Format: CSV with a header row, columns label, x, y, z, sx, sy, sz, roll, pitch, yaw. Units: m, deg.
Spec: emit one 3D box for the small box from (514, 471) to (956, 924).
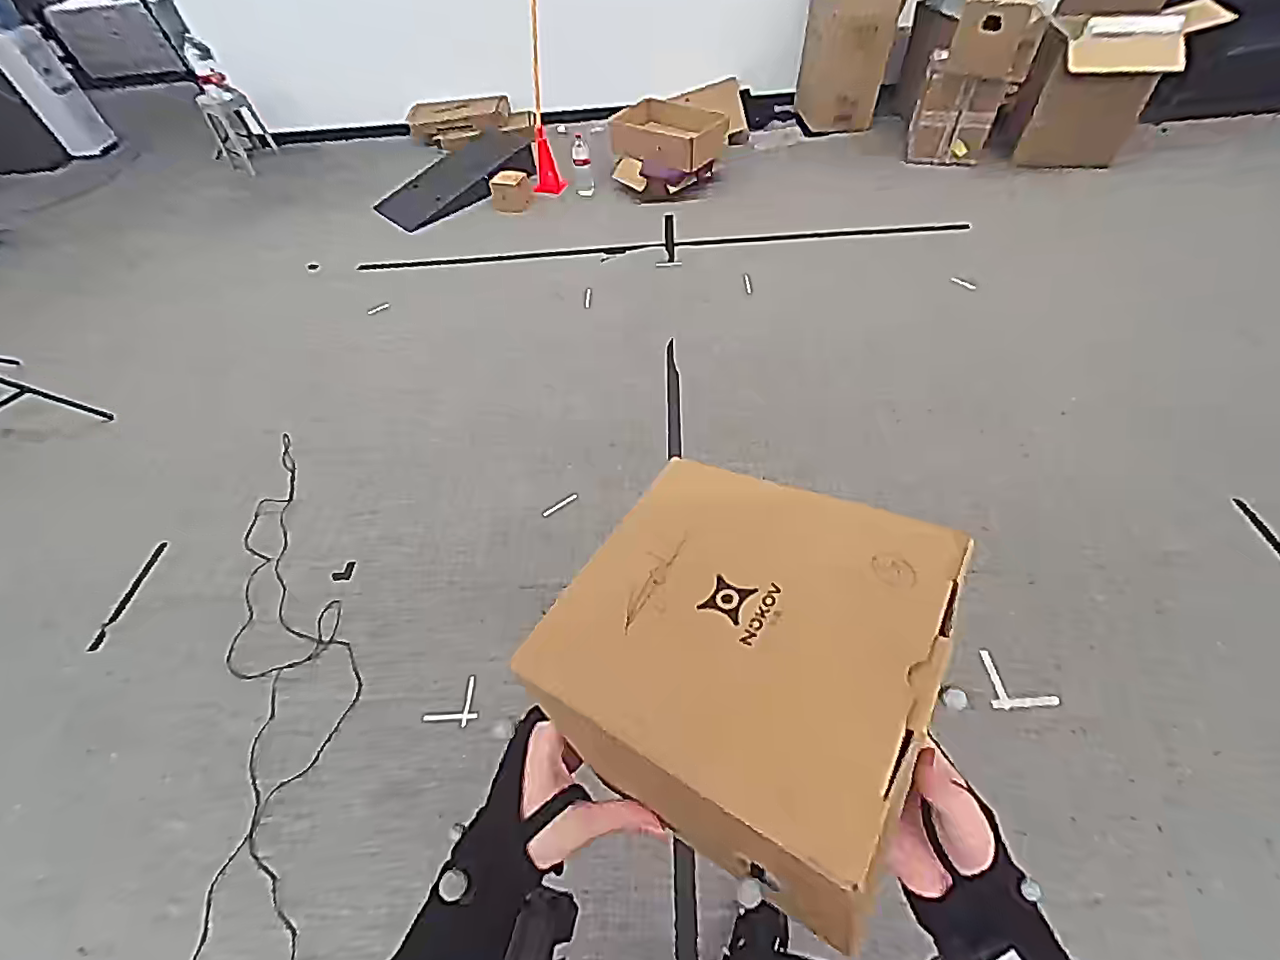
label,x,y,z,sx,sy,sz,roll,pitch,yaw
small box,0.065,0.124,0.328,0.179,0.176,0.168,15,51,33
